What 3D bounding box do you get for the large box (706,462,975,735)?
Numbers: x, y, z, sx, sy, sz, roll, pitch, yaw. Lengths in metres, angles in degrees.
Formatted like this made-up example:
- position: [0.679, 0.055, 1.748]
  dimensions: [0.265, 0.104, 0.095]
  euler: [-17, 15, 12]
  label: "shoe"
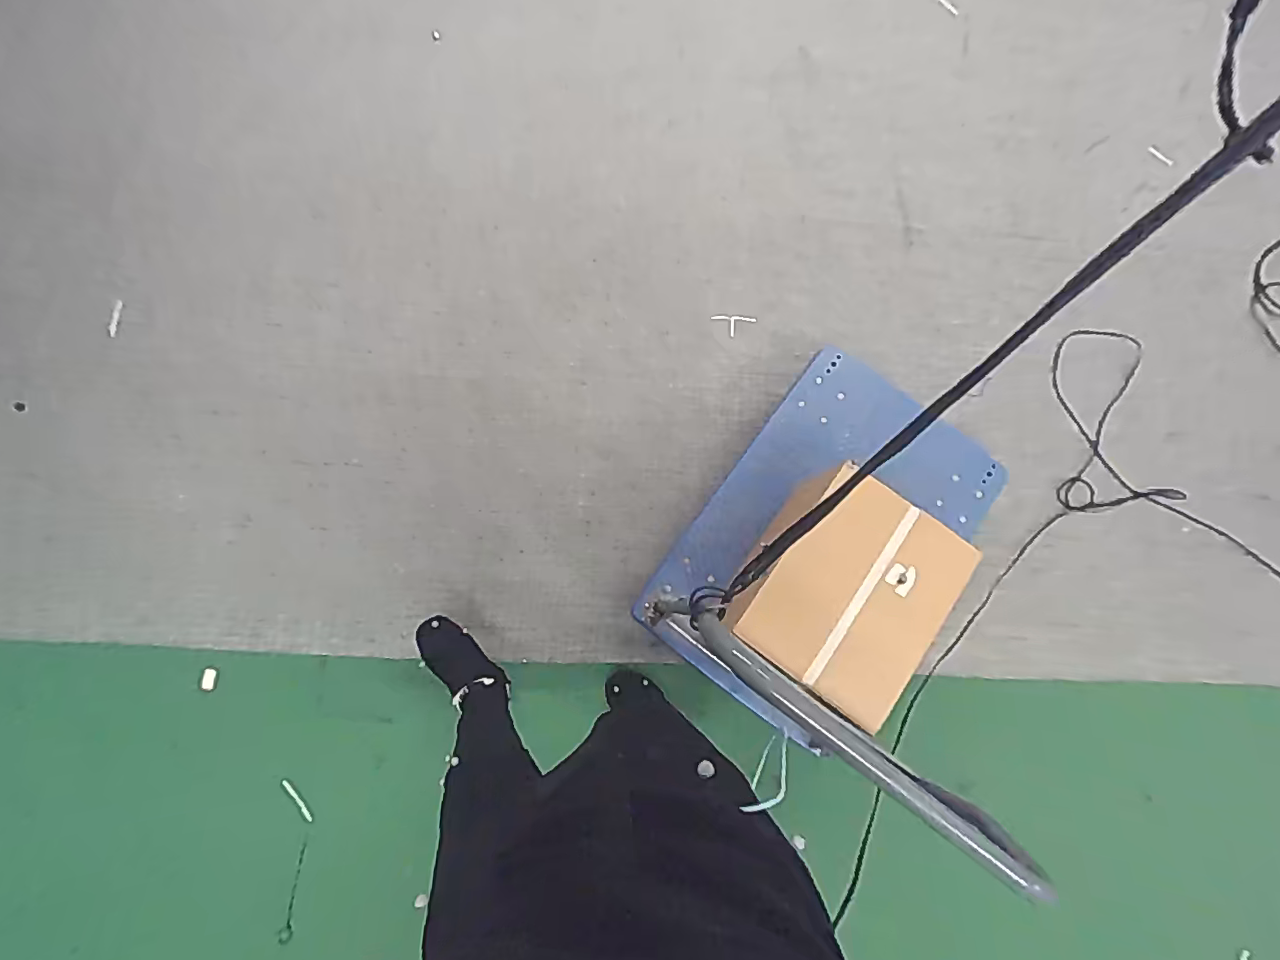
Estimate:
- position: [0.391, 0.238, 1.141]
  dimensions: [0.320, 0.320, 0.408]
  euler: [37, 79, 4]
  label: "large box"
